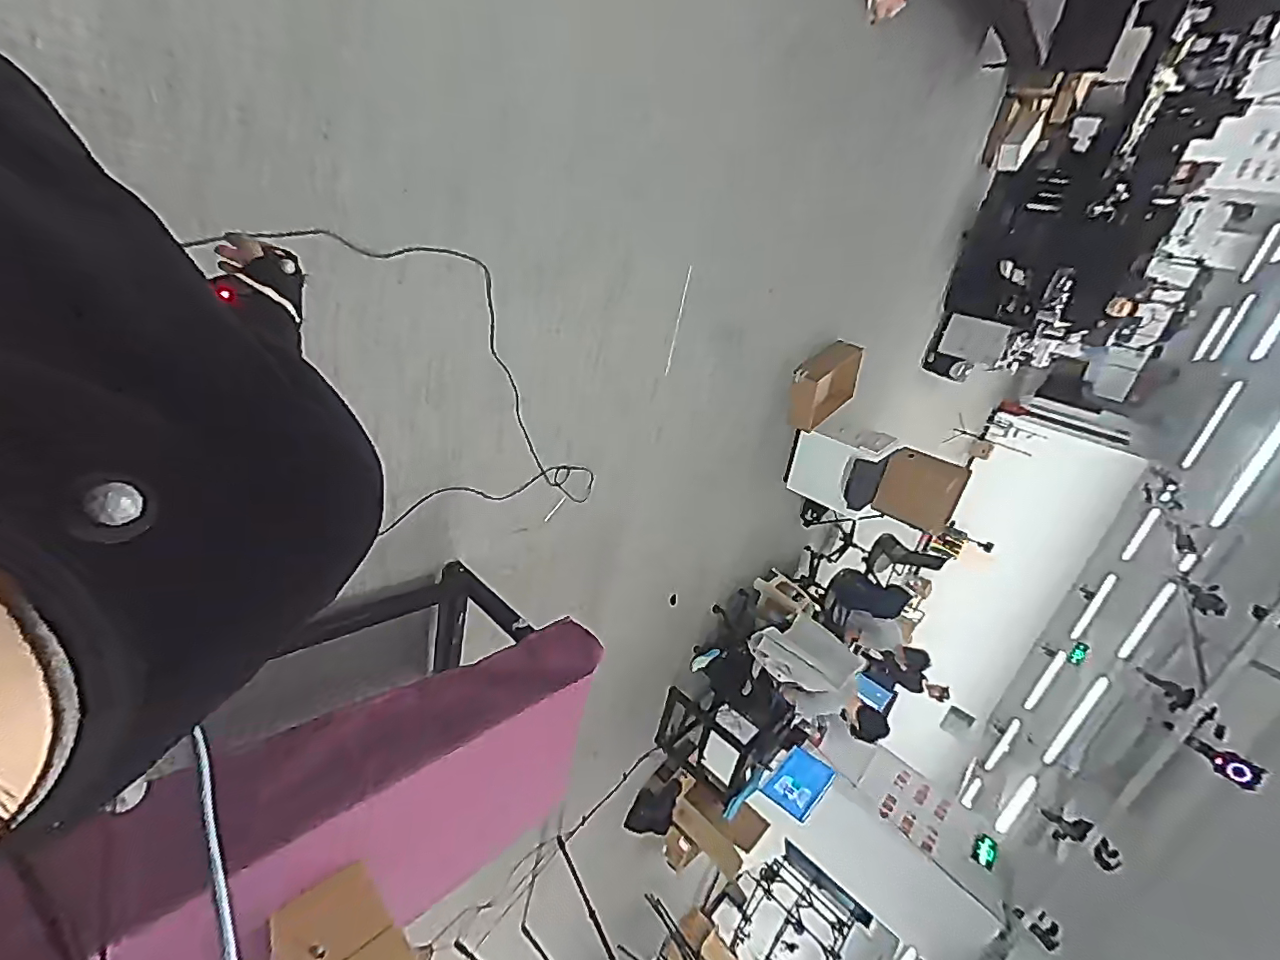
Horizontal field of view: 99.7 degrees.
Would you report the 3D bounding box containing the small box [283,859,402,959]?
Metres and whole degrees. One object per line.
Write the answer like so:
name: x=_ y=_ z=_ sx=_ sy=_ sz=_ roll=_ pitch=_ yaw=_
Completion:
small box: x=-0.624 y=0.957 z=1.128 sx=0.179 sy=0.176 sz=0.168 roll=-11 pitch=123 yaw=-48
